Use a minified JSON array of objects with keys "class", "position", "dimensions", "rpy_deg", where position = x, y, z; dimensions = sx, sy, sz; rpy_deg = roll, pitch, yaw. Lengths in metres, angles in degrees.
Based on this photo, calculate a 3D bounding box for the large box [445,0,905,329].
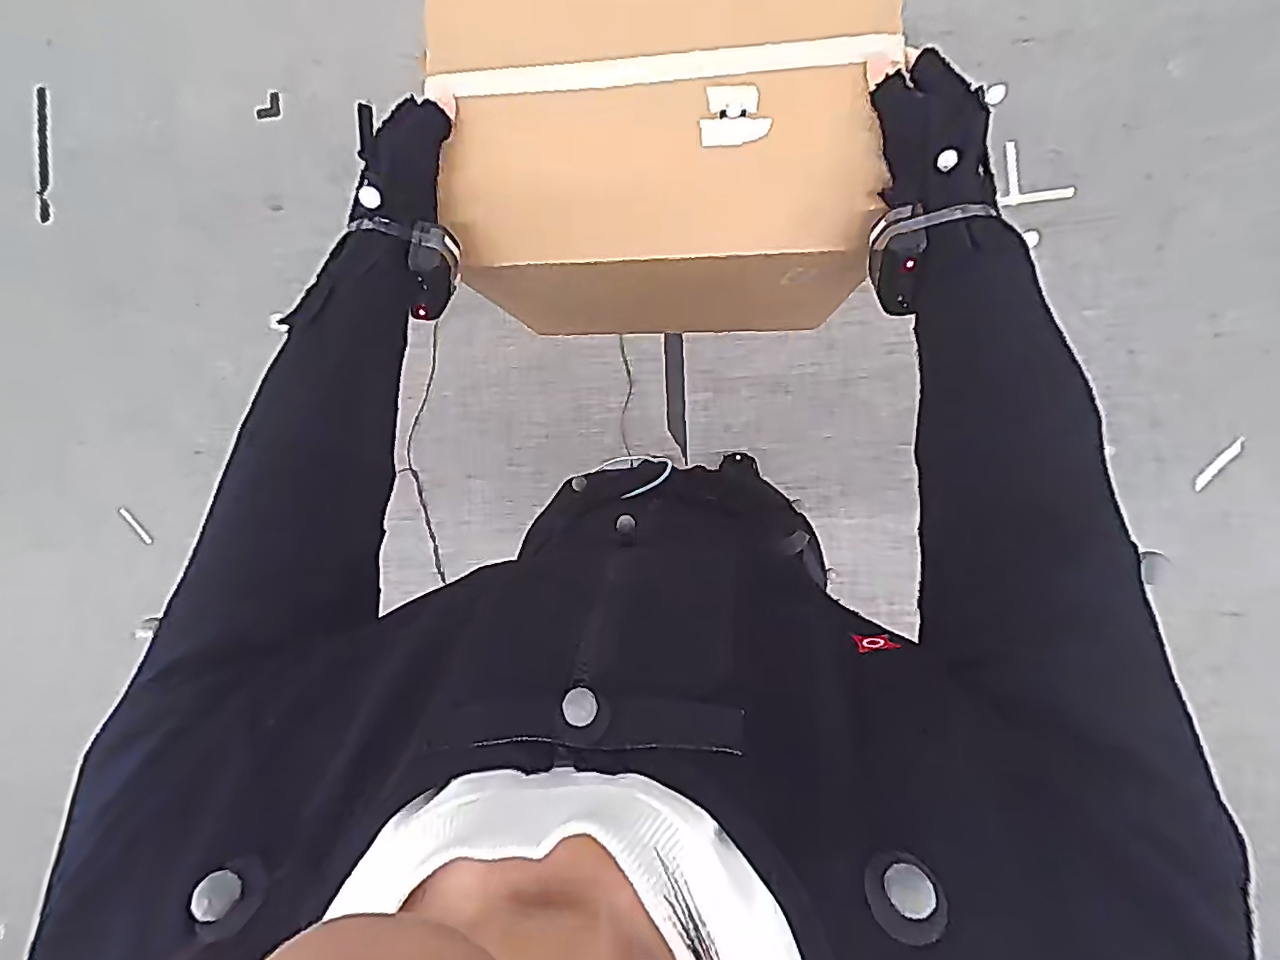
[{"class":"large box","position":[0.036,-0.367,0.618],"dimensions":[0.408,0.320,0.320],"rpy_deg":[0,94,6]}]
